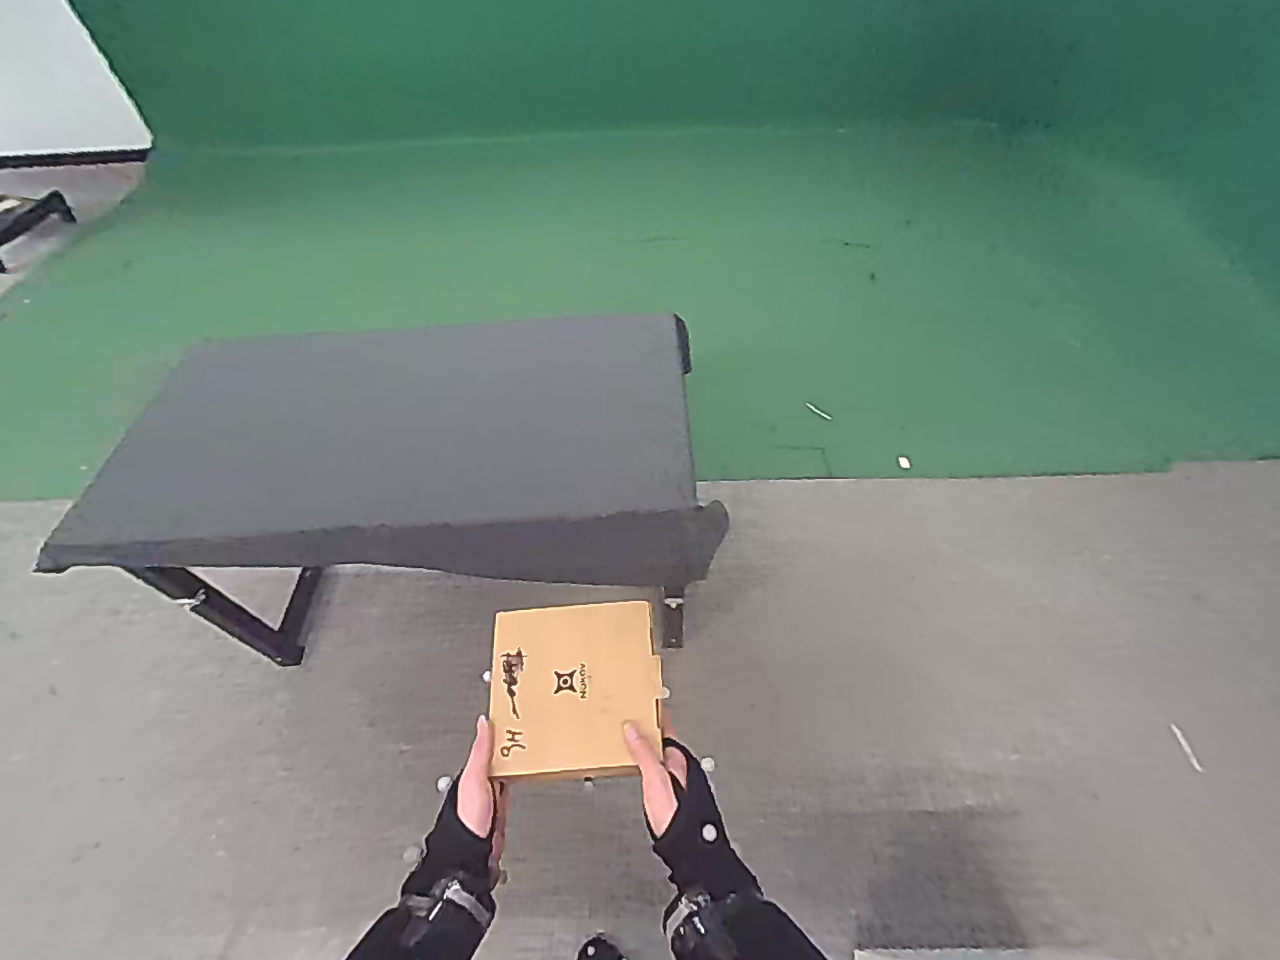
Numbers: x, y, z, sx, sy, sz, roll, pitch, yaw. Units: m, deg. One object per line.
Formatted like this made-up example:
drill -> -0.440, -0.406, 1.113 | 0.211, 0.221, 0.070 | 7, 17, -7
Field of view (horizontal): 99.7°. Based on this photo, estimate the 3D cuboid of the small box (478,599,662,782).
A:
small box -> -0.073, 0.245, 0.620 | 0.179, 0.176, 0.168 | -2, 57, -3
